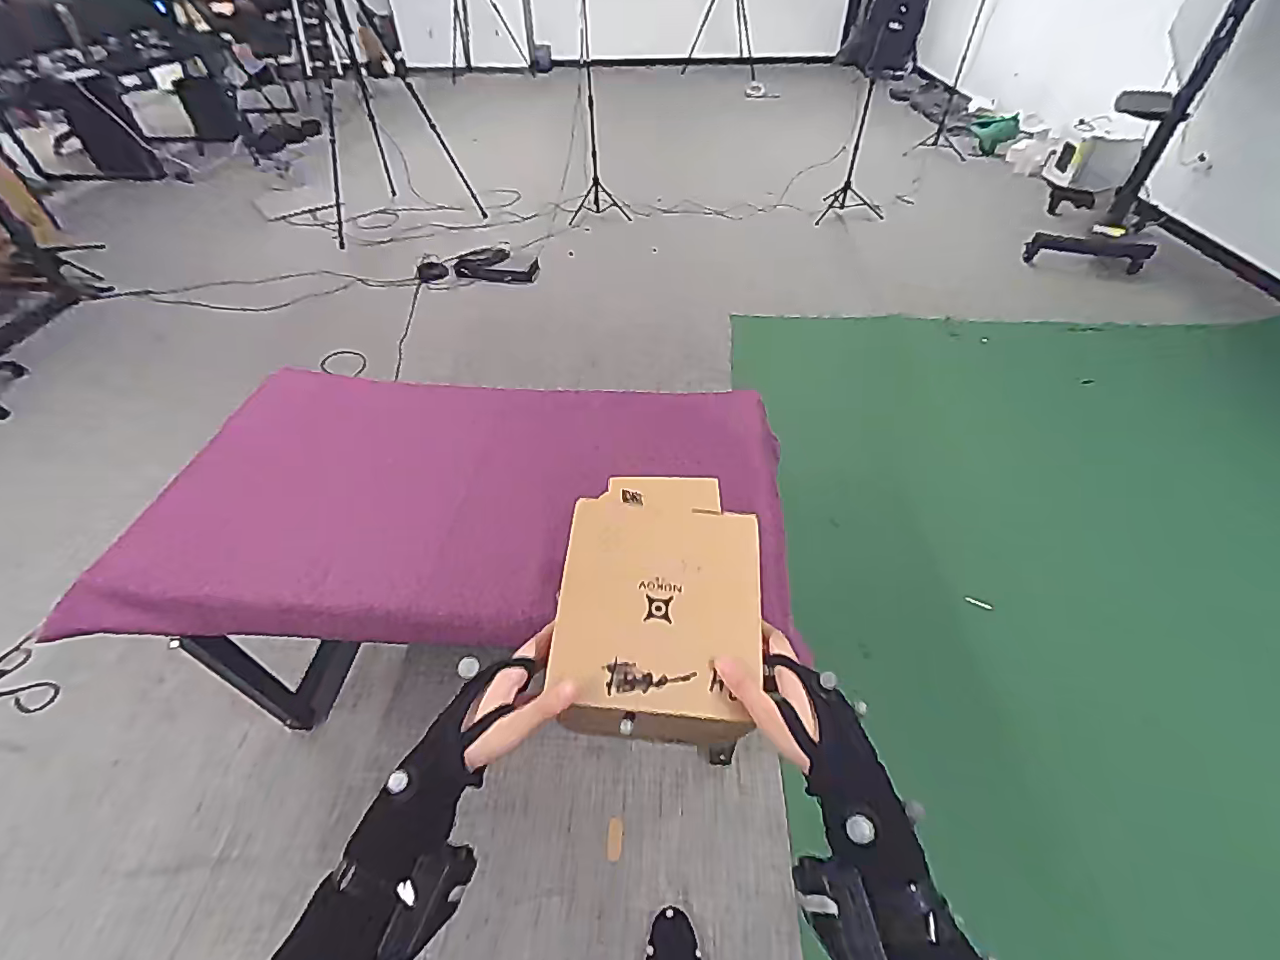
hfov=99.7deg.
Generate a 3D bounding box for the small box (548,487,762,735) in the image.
[{"bbox_3d":[0.017,0.130,0.517,0.168,0.176,0.179,6,58,2],"label":"small box"}]

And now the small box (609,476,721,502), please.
[{"bbox_3d":[0.038,0.110,0.866,0.179,0.176,0.168,1,47,2],"label":"small box"}]
